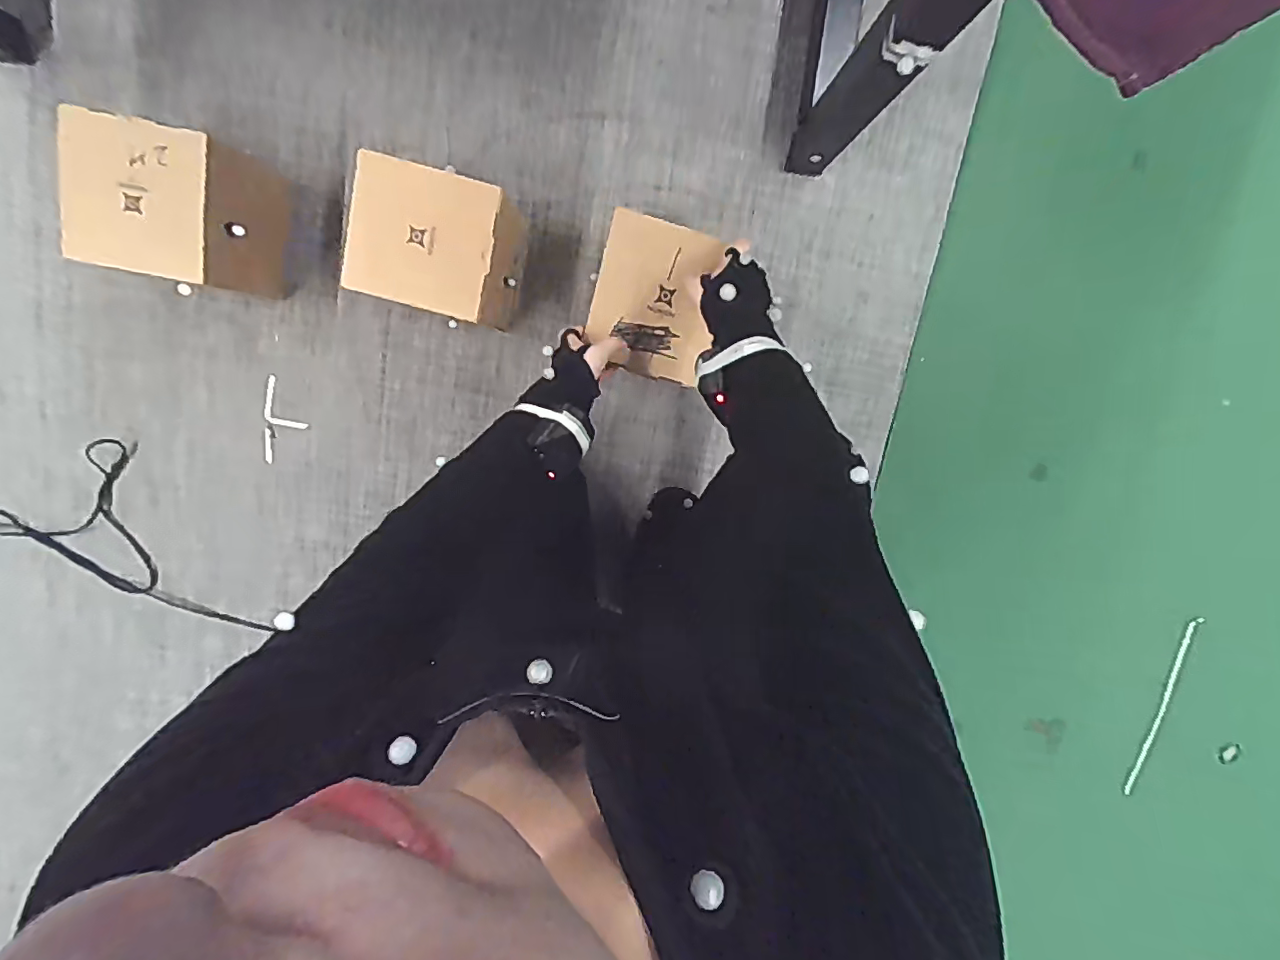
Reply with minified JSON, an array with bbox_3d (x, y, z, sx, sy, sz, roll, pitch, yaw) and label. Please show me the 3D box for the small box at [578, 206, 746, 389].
[{"bbox_3d":[0.025,-0.238,0.729,0.168,0.176,0.179,16,106,-5],"label":"small box"}]
